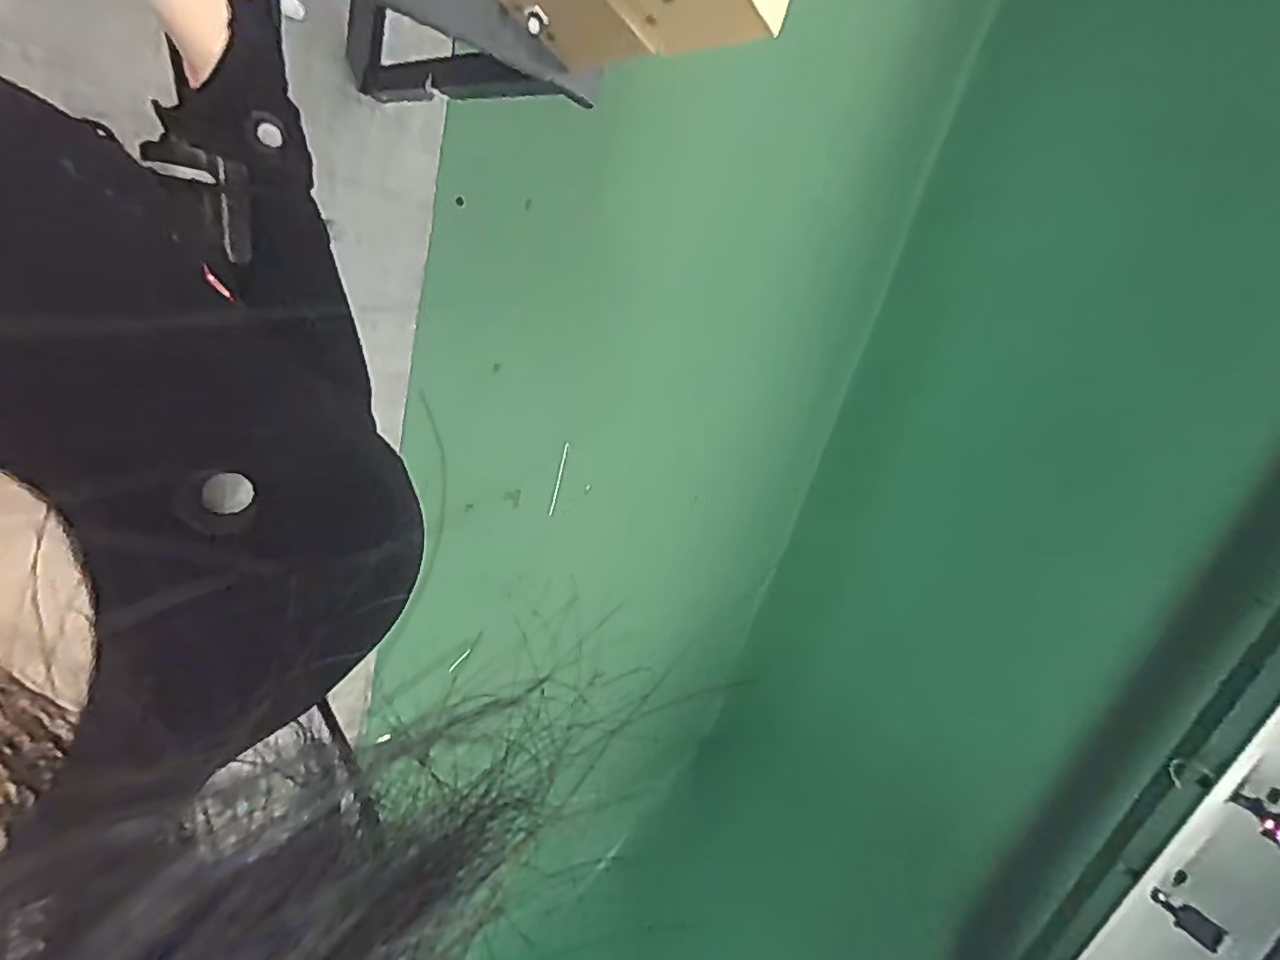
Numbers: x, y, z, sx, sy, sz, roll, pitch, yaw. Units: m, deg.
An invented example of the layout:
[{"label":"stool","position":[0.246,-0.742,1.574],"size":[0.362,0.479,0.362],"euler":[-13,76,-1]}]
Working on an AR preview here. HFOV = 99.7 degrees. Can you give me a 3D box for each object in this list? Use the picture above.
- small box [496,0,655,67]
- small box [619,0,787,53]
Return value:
[{"label":"small box","position":[-0.065,-0.646,0.649],"size":[0.168,0.176,0.179],"euler":[9,103,-50]},{"label":"small box","position":[0.061,-0.592,0.561],"size":[0.168,0.176,0.179],"euler":[6,104,-50]}]
